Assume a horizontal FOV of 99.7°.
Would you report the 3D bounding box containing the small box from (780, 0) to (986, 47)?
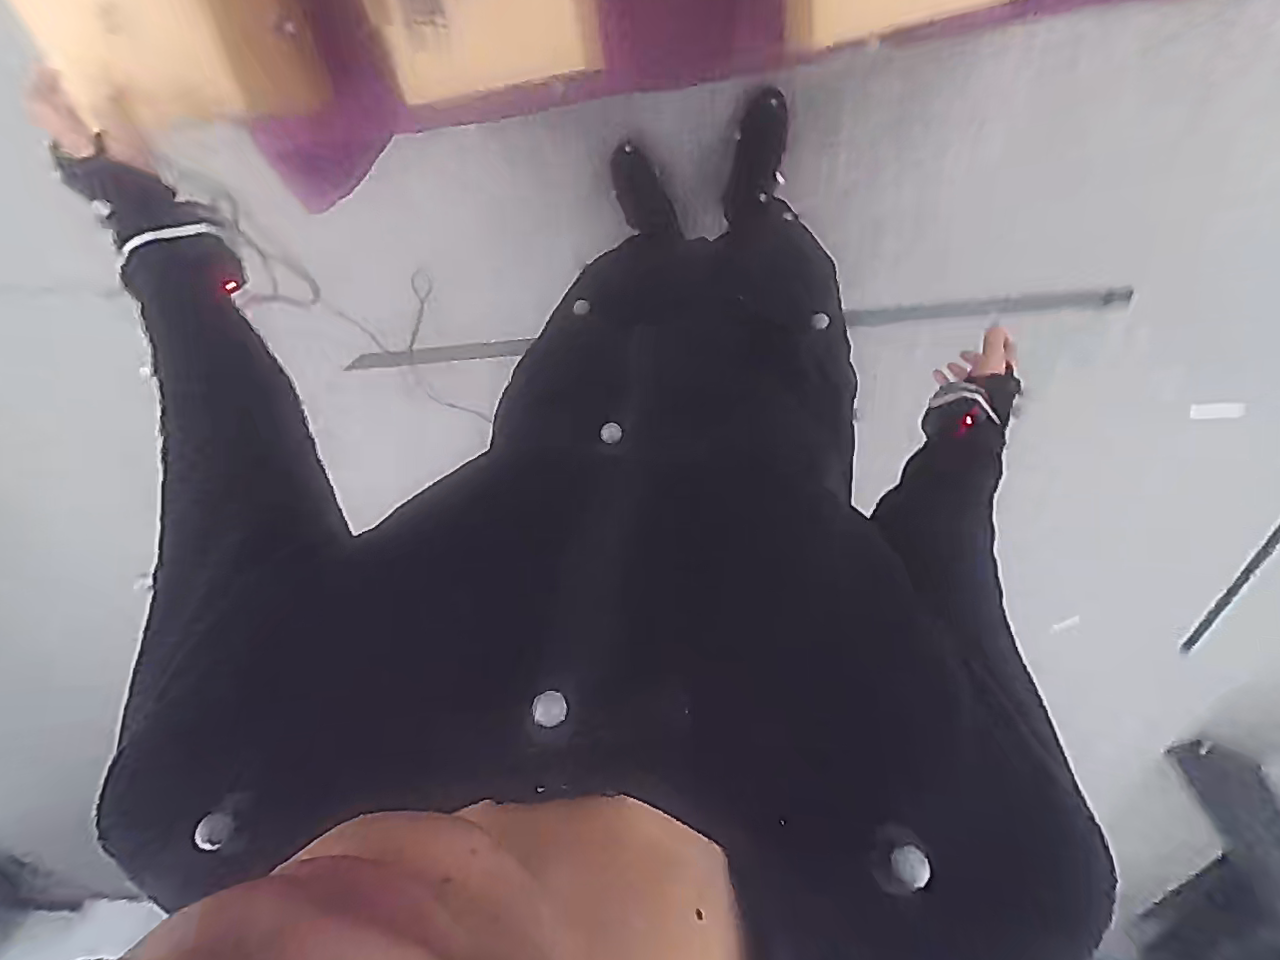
[{"bbox_3d":[0.210,-0.498,0.461,0.168,0.176,0.179,-8,127,11],"label":"small box"}]
